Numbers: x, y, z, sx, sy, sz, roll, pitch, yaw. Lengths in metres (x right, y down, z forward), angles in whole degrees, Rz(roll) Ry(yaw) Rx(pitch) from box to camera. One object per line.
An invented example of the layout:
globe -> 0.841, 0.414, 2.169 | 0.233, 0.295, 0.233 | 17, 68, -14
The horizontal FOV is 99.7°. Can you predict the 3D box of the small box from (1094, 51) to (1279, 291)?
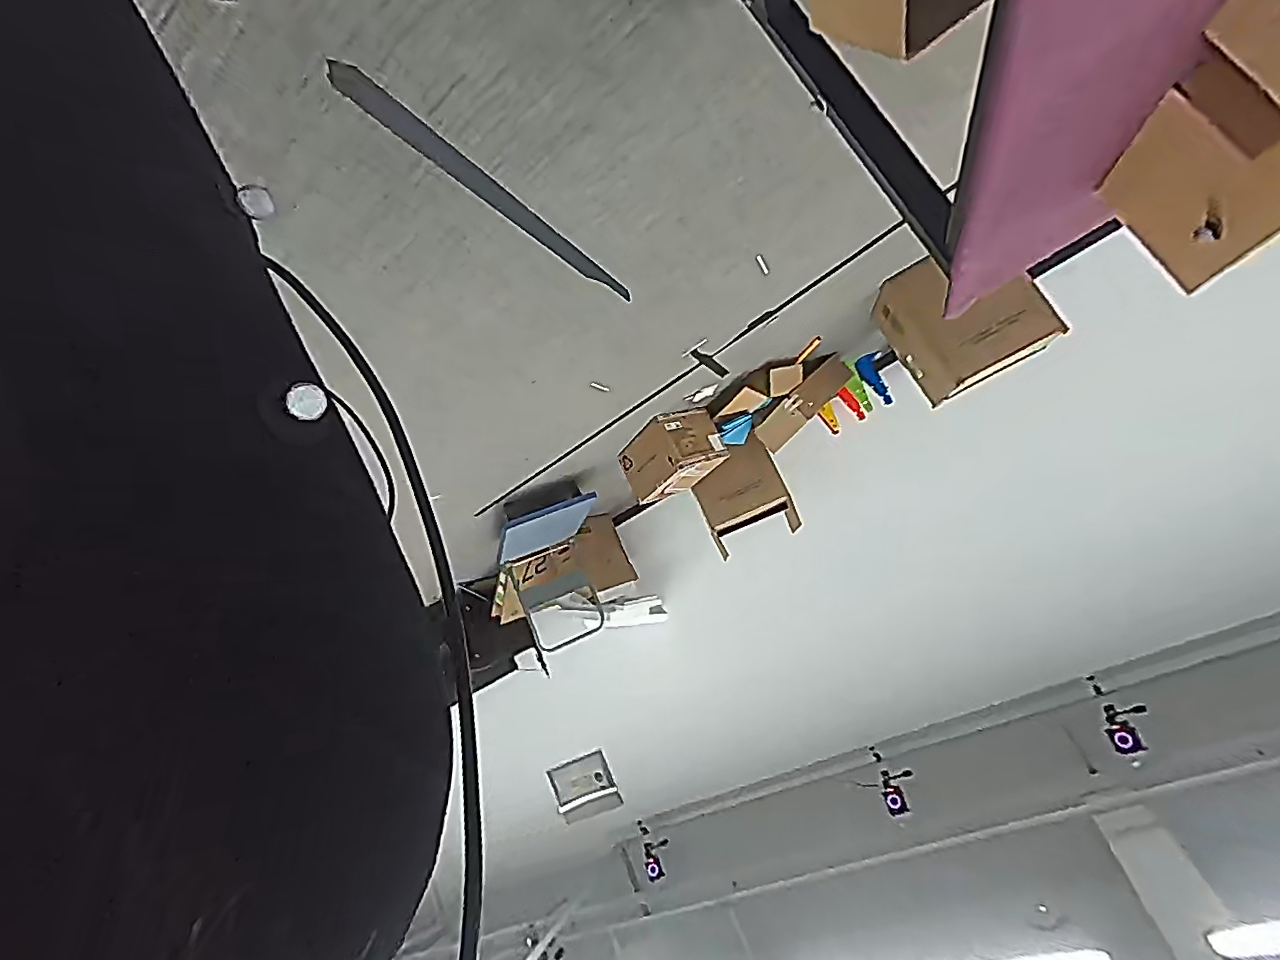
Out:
small box -> 0.623, -0.336, 0.551 | 0.168, 0.176, 0.179 | -32, 165, 15
